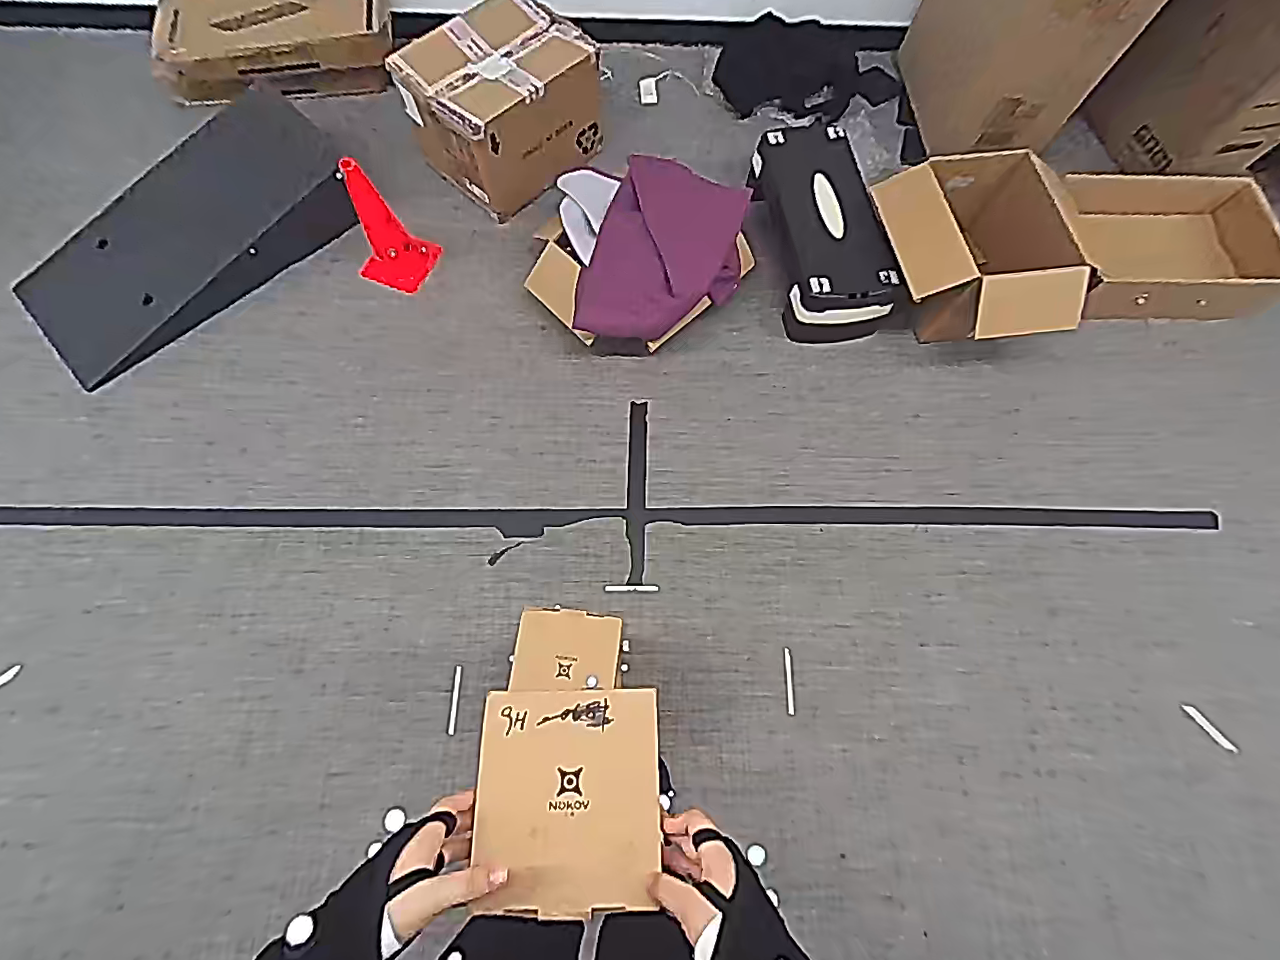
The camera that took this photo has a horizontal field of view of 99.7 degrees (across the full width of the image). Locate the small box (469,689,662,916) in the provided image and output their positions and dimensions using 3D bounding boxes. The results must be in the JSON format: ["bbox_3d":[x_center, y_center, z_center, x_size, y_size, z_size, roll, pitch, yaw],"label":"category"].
[{"bbox_3d":[-0.063,0.312,0.554,0.168,0.176,0.179,-1,66,-1],"label":"small box"}]

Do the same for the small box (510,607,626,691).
[{"bbox_3d":[-0.116,0.321,0.917,0.168,0.176,0.179,6,71,2],"label":"small box"}]
